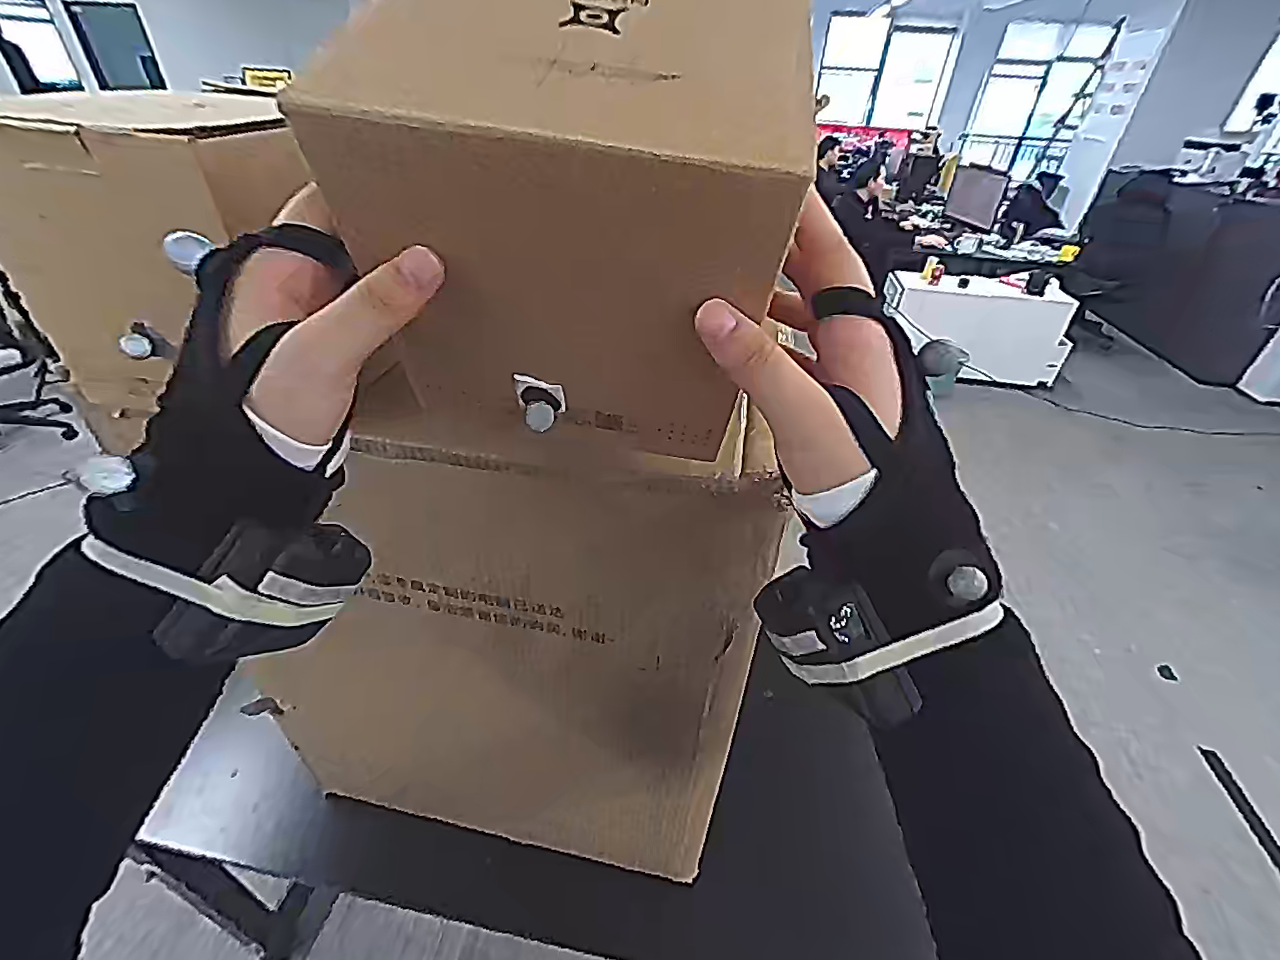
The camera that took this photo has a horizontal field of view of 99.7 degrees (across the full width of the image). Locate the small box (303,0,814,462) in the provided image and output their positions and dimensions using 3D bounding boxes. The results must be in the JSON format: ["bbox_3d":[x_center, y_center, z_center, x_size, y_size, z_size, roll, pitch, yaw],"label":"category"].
[{"bbox_3d":[-0.021,-0.133,0.279,0.168,0.176,0.179,7,60,1],"label":"small box"}]

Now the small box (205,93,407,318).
[{"bbox_3d":[-0.259,-0.270,0.534,0.179,0.176,0.168,10,35,7],"label":"small box"}]
